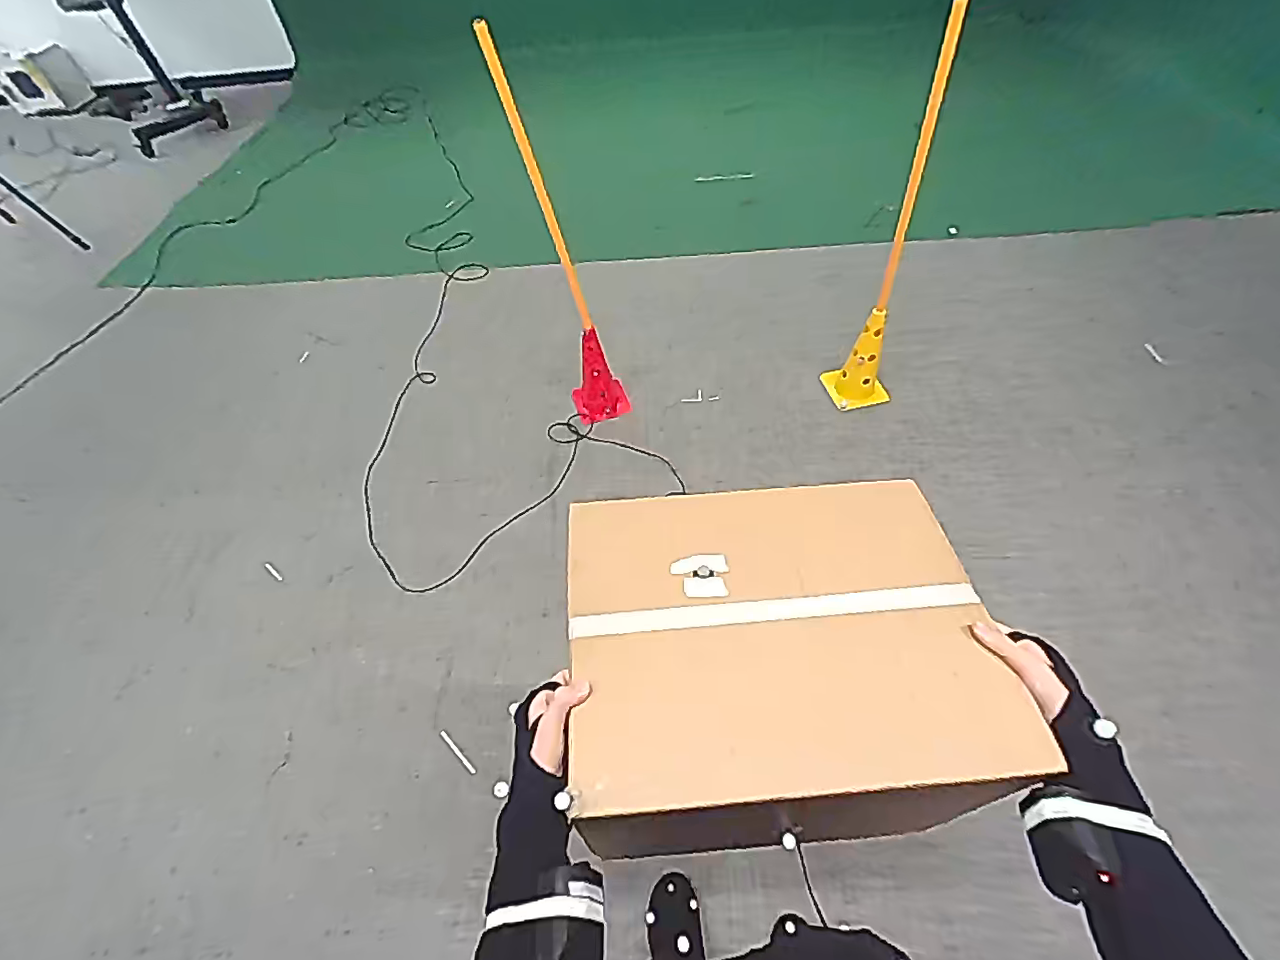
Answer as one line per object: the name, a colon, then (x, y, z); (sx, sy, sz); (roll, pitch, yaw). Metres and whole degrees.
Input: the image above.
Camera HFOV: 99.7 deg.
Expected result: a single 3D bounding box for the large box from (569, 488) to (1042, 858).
large box: (0.135, 0.239, 0.652); (0.408, 0.320, 0.320); (-5, 49, -1)
